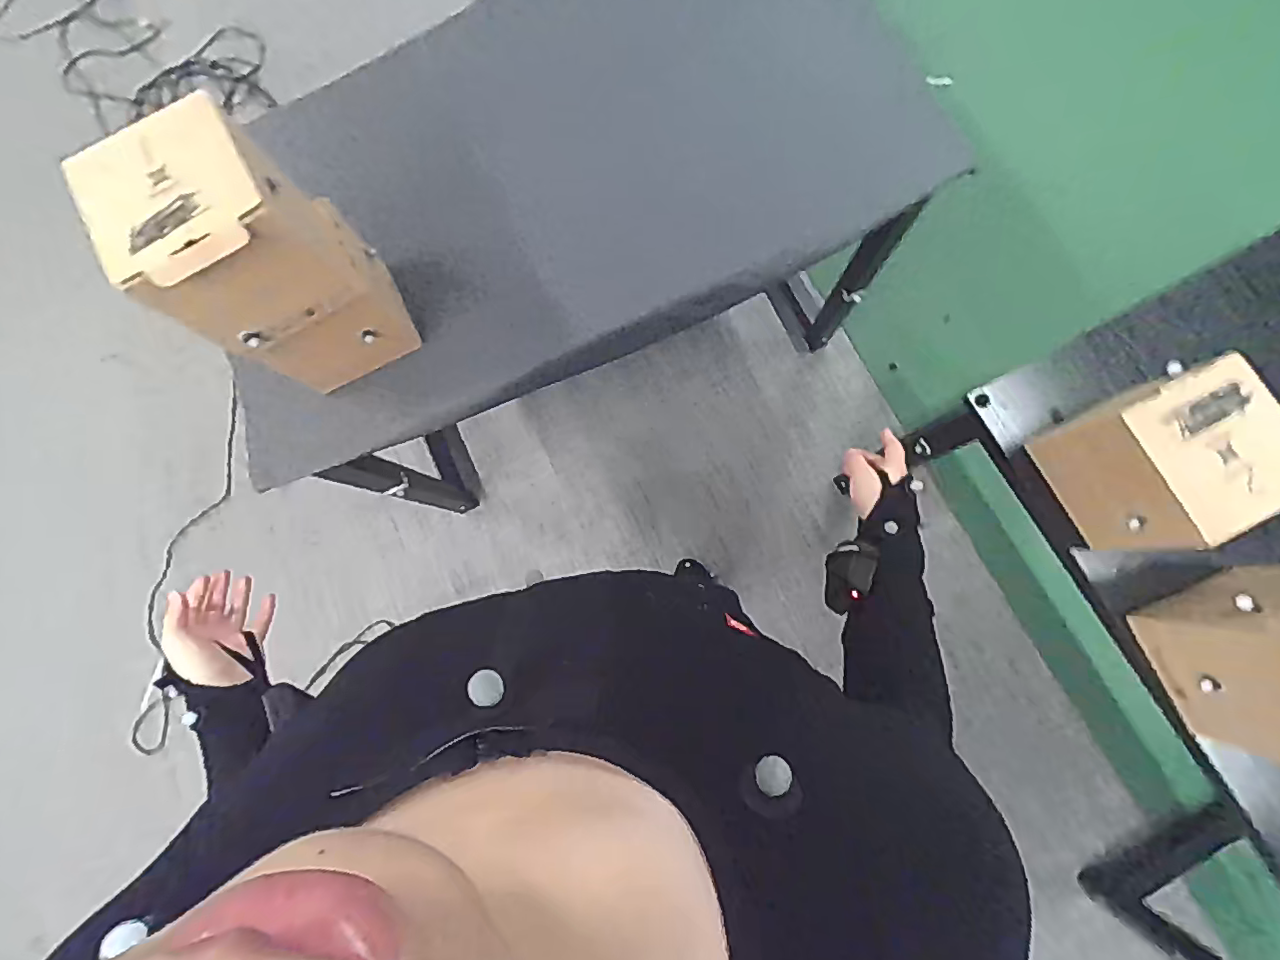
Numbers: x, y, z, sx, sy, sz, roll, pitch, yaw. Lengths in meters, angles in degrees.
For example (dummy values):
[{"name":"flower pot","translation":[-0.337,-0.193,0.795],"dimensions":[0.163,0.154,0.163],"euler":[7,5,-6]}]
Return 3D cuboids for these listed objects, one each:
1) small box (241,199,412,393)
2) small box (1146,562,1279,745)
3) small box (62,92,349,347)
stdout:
[{"name":"small box","translation":[-0.460,-0.255,0.784],"dimensions":[0.179,0.176,0.168],"euler":[-28,79,-1]},{"name":"small box","translation":[0.772,0.205,0.646],"dimensions":[0.179,0.176,0.168],"euler":[-24,81,-1]},{"name":"small box","translation":[-0.478,-0.277,0.622],"dimensions":[0.168,0.176,0.179],"euler":[-32,78,-3]}]
